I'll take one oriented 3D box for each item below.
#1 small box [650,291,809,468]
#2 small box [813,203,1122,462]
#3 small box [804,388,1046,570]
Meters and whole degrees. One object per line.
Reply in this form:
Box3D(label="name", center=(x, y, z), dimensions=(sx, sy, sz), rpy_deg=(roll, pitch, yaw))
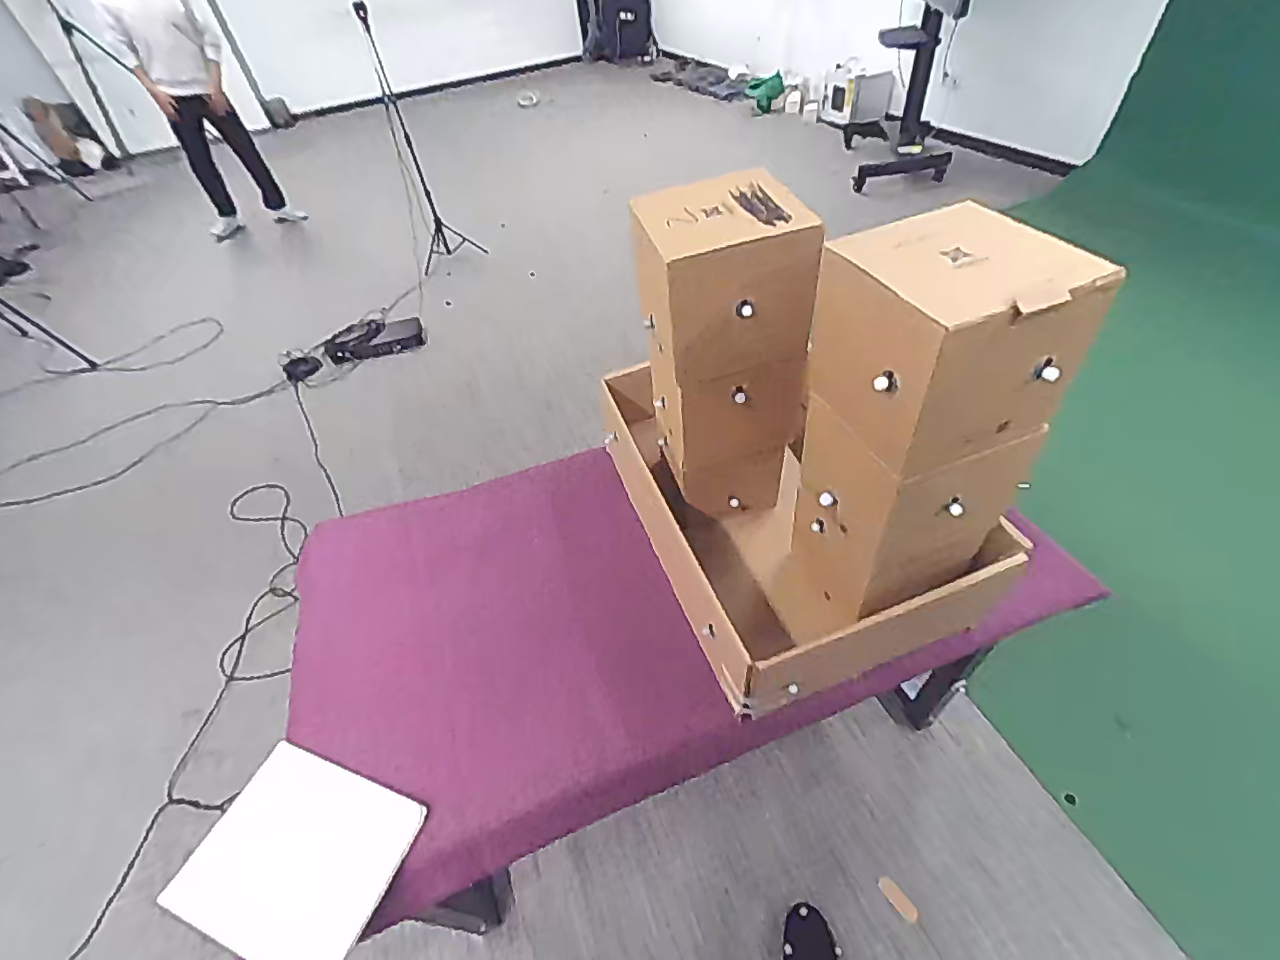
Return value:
Box3D(label="small box", center=(0.122, -0.144, 0.792), dimensions=(0.179, 0.176, 0.168), rpy_deg=(-15, 50, -5))
Box3D(label="small box", center=(0.289, -0.138, 0.529), dimensions=(0.168, 0.176, 0.179), rpy_deg=(-18, 46, -7))
Box3D(label="small box", center=(0.315, -0.023, 0.642), dimensions=(0.179, 0.176, 0.168), rpy_deg=(-19, 47, -6))
